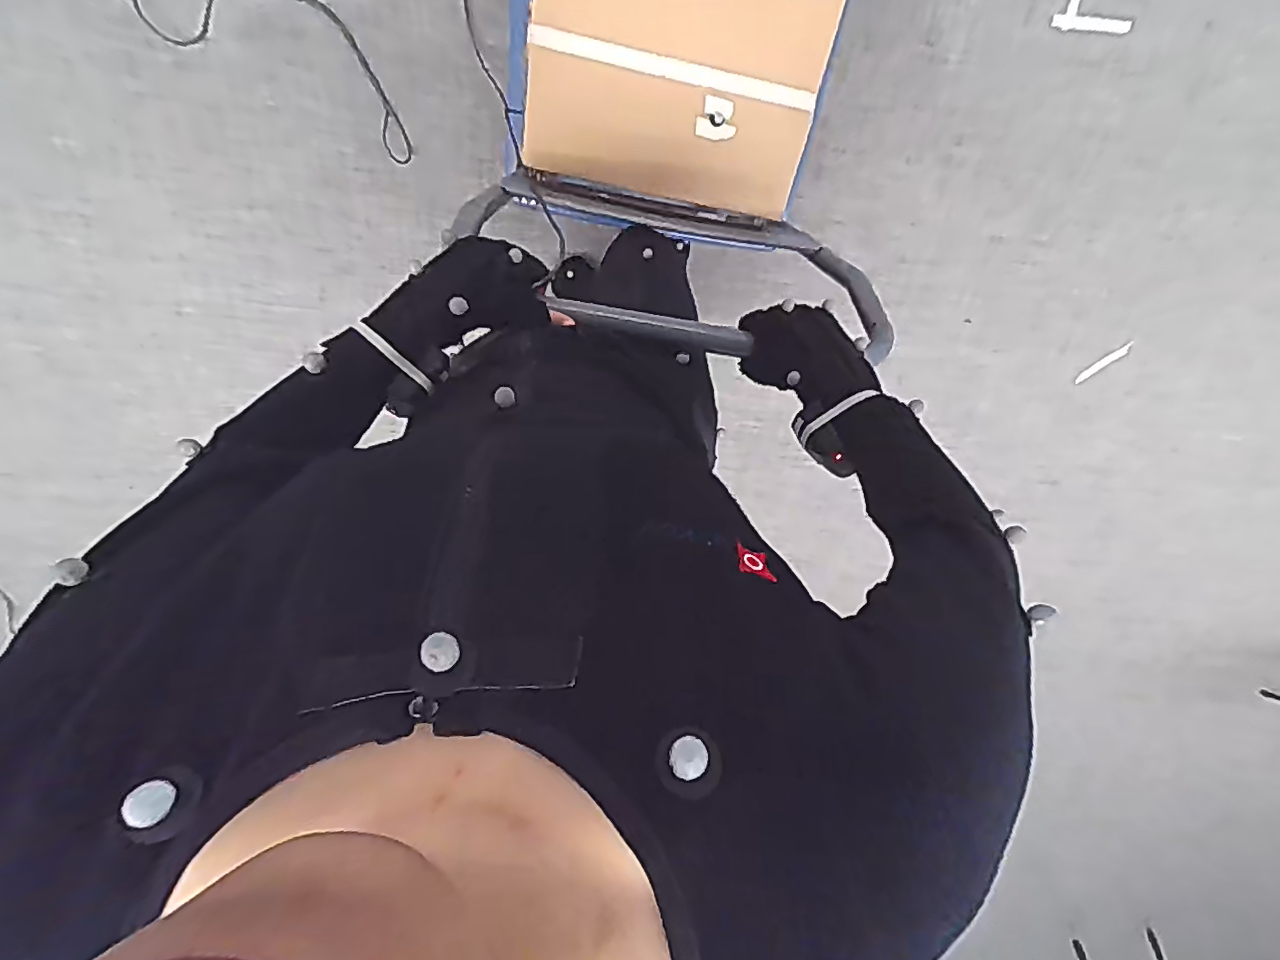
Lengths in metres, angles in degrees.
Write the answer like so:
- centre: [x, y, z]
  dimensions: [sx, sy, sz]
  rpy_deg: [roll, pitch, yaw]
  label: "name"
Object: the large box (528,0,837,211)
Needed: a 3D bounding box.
- centre: [0.042, -0.656, 0.886]
  dimensions: [0.408, 0.320, 0.320]
  rpy_deg: [7, 121, -9]
  label: "large box"
